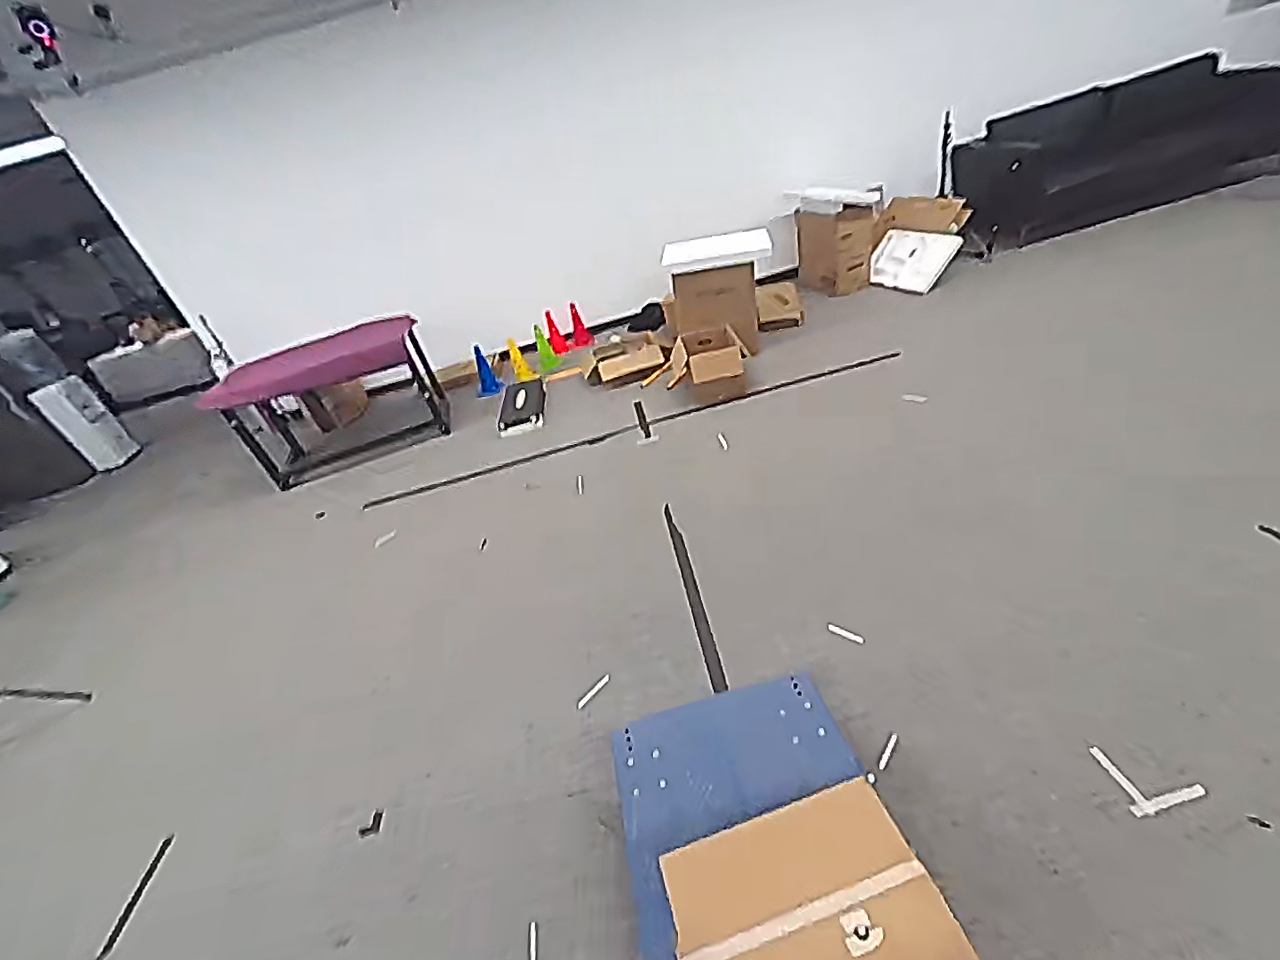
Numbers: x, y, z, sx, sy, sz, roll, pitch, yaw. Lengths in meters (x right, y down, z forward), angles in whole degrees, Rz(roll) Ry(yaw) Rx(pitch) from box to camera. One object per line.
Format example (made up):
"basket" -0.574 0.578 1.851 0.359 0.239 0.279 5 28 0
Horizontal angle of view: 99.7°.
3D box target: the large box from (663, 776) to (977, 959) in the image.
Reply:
"large box" 0.293 0.807 0.938 0.408 0.320 0.320 -18 34 -5
